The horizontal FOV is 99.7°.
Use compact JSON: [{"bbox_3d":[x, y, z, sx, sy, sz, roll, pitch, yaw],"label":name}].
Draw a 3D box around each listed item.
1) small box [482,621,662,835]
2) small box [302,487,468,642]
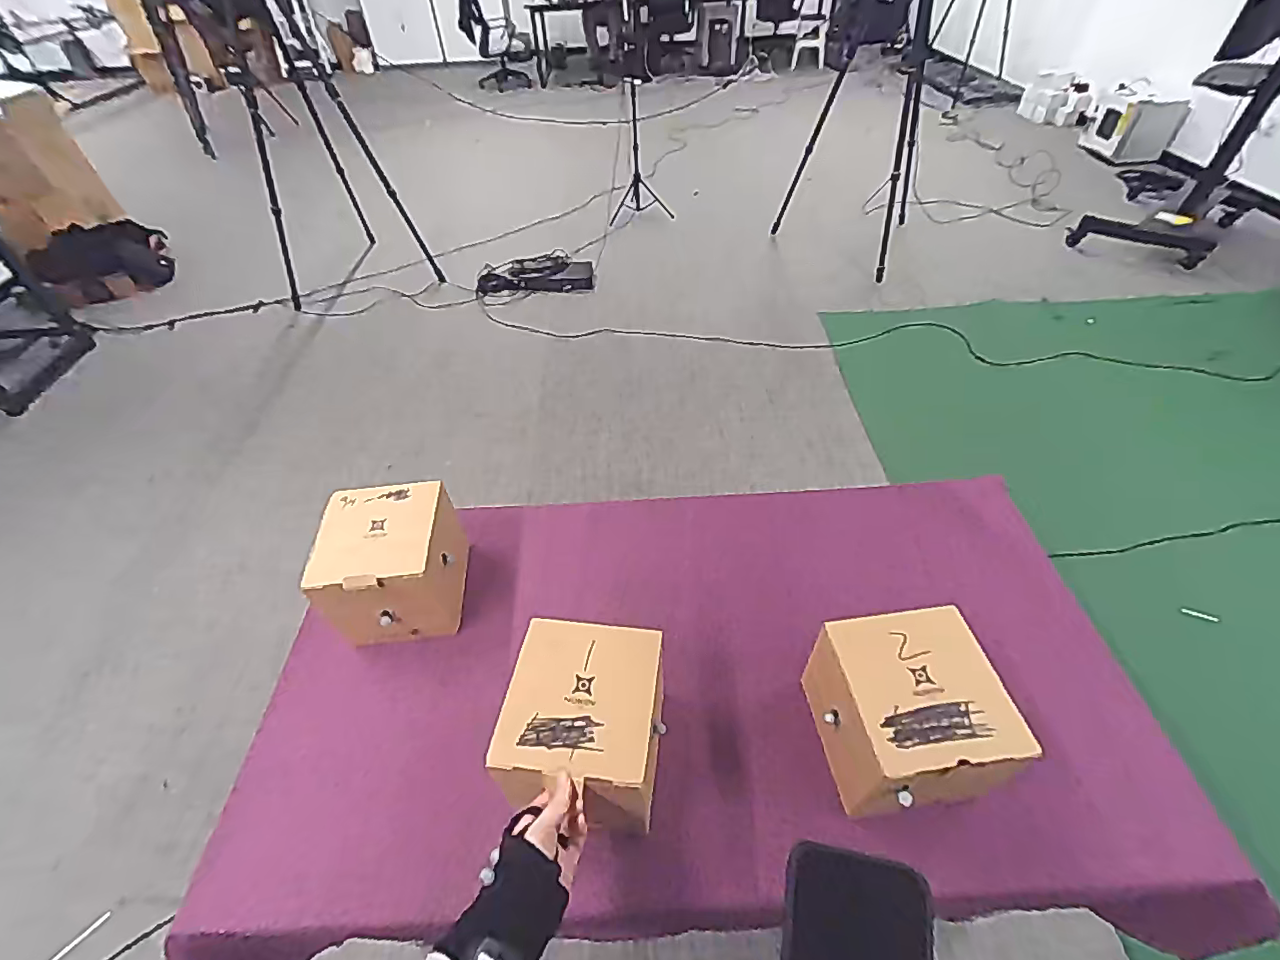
[{"bbox_3d":[-0.065,0.299,0.652,0.168,0.176,0.179,5,42,8],"label":"small box"},{"bbox_3d":[-0.374,0.136,0.832,0.168,0.176,0.179,-6,48,-3],"label":"small box"}]
